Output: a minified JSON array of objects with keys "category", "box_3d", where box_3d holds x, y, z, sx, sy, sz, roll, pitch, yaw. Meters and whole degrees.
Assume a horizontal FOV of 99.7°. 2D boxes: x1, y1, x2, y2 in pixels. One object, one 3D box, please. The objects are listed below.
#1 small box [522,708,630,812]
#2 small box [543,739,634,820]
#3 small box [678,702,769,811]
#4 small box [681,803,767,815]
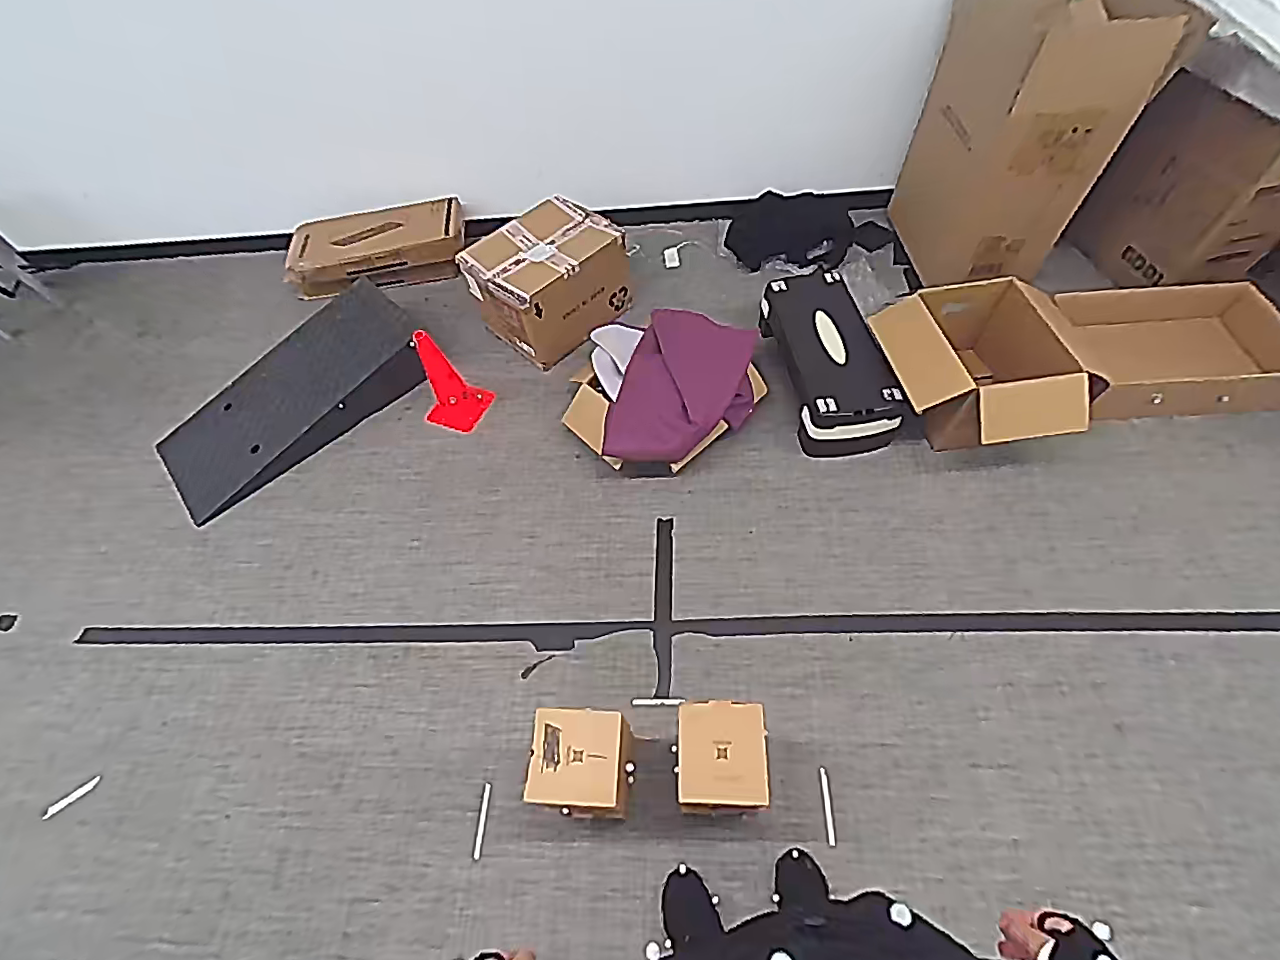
[{"category":"small box","box_3d":[-0.120,0.569,1.094,0.179,0.176,0.168,0,57,6]},{"category":"small box","box_3d":[-0.108,0.665,1.229,0.168,0.176,0.179,0,58,7]},{"category":"small box","box_3d":[0.160,0.553,1.080,0.168,0.176,0.179,-1,58,6]},{"category":"small box","box_3d":[0.177,0.651,1.209,0.179,0.176,0.168,-2,57,4]}]
